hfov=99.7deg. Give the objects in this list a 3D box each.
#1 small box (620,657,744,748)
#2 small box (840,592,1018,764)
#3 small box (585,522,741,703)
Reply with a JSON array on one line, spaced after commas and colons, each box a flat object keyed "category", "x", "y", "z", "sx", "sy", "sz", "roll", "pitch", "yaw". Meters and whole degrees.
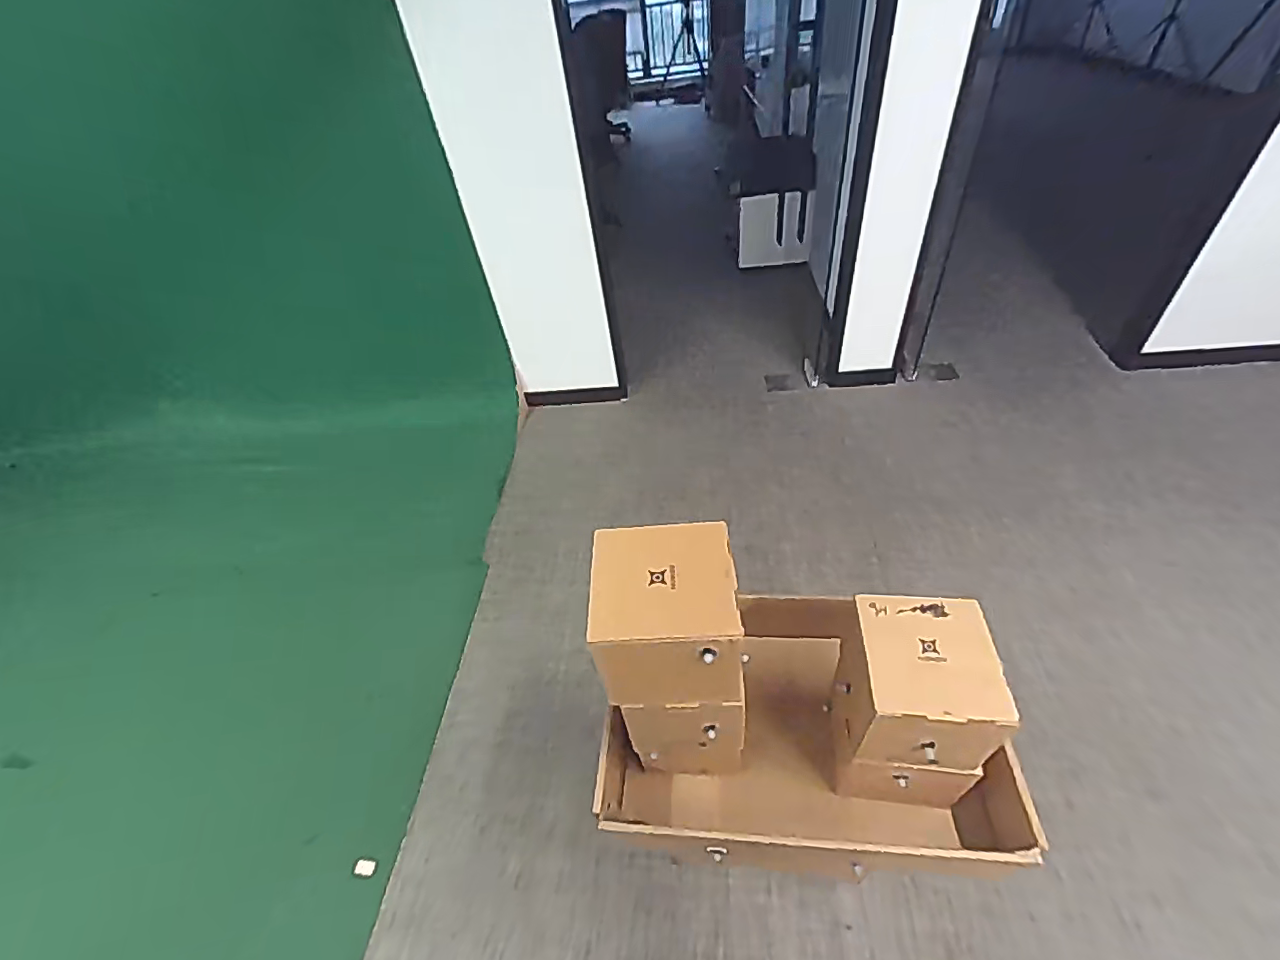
[{"category": "small box", "x": 0.067, "y": 0.289, "z": 0.813, "sx": 0.168, "sy": 0.176, "sz": 0.179, "roll": -4, "pitch": 44, "yaw": 5}, {"category": "small box", "x": 0.388, "y": 0.281, "z": 0.764, "sx": 0.168, "sy": 0.176, "sz": 0.179, "roll": 1, "pitch": 47, "yaw": 9}, {"category": "small box", "x": 0.034, "y": 0.175, "z": 0.701, "sx": 0.179, "sy": 0.176, "sz": 0.168, "roll": -4, "pitch": 45, "yaw": 4}]
